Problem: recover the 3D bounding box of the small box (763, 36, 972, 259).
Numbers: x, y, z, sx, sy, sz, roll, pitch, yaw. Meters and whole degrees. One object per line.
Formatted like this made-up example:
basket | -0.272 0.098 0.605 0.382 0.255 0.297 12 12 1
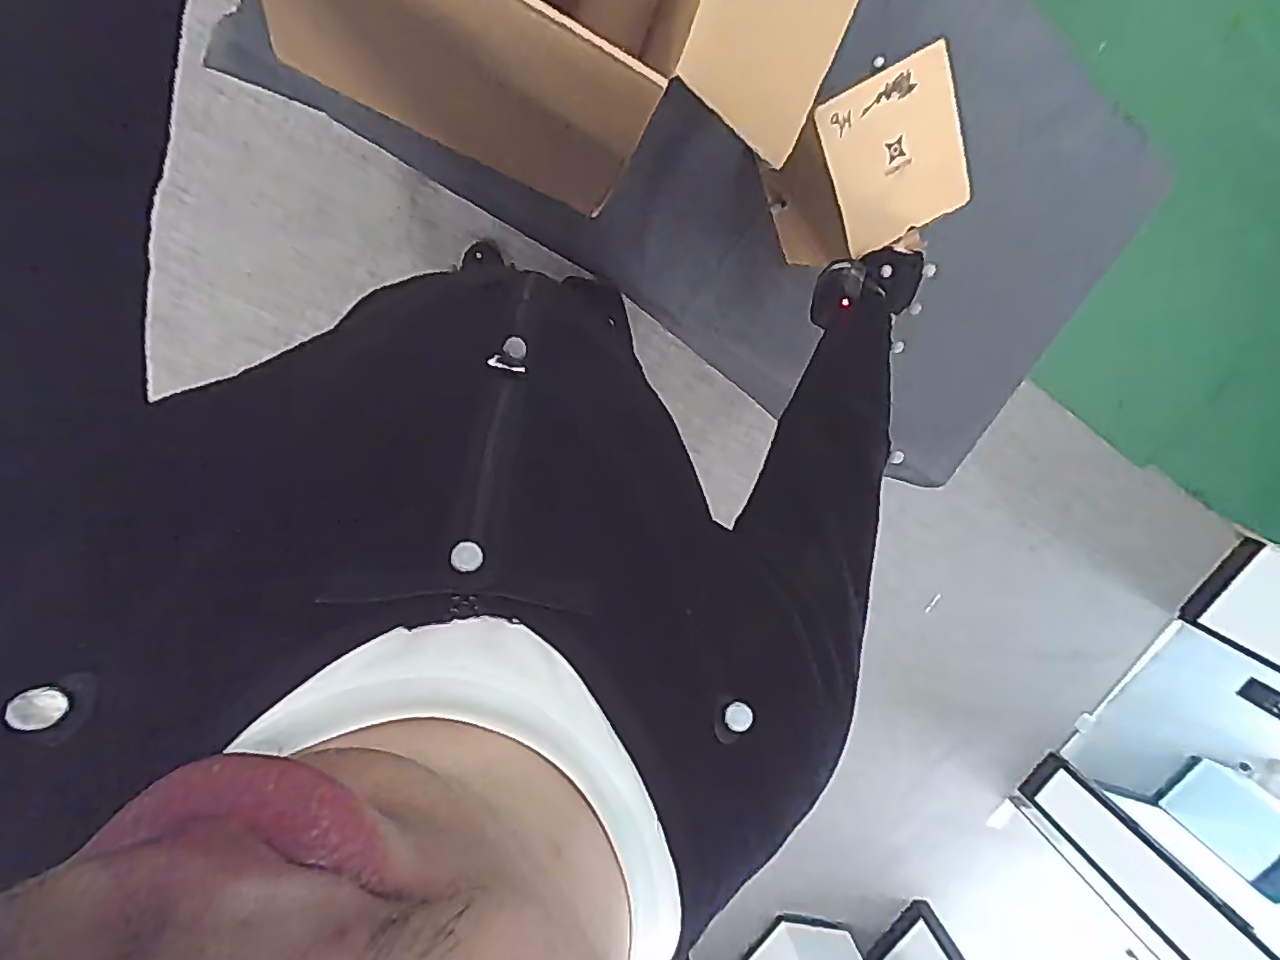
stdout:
small box | 0.280 -0.405 0.684 0.168 0.176 0.179 -26 118 0
